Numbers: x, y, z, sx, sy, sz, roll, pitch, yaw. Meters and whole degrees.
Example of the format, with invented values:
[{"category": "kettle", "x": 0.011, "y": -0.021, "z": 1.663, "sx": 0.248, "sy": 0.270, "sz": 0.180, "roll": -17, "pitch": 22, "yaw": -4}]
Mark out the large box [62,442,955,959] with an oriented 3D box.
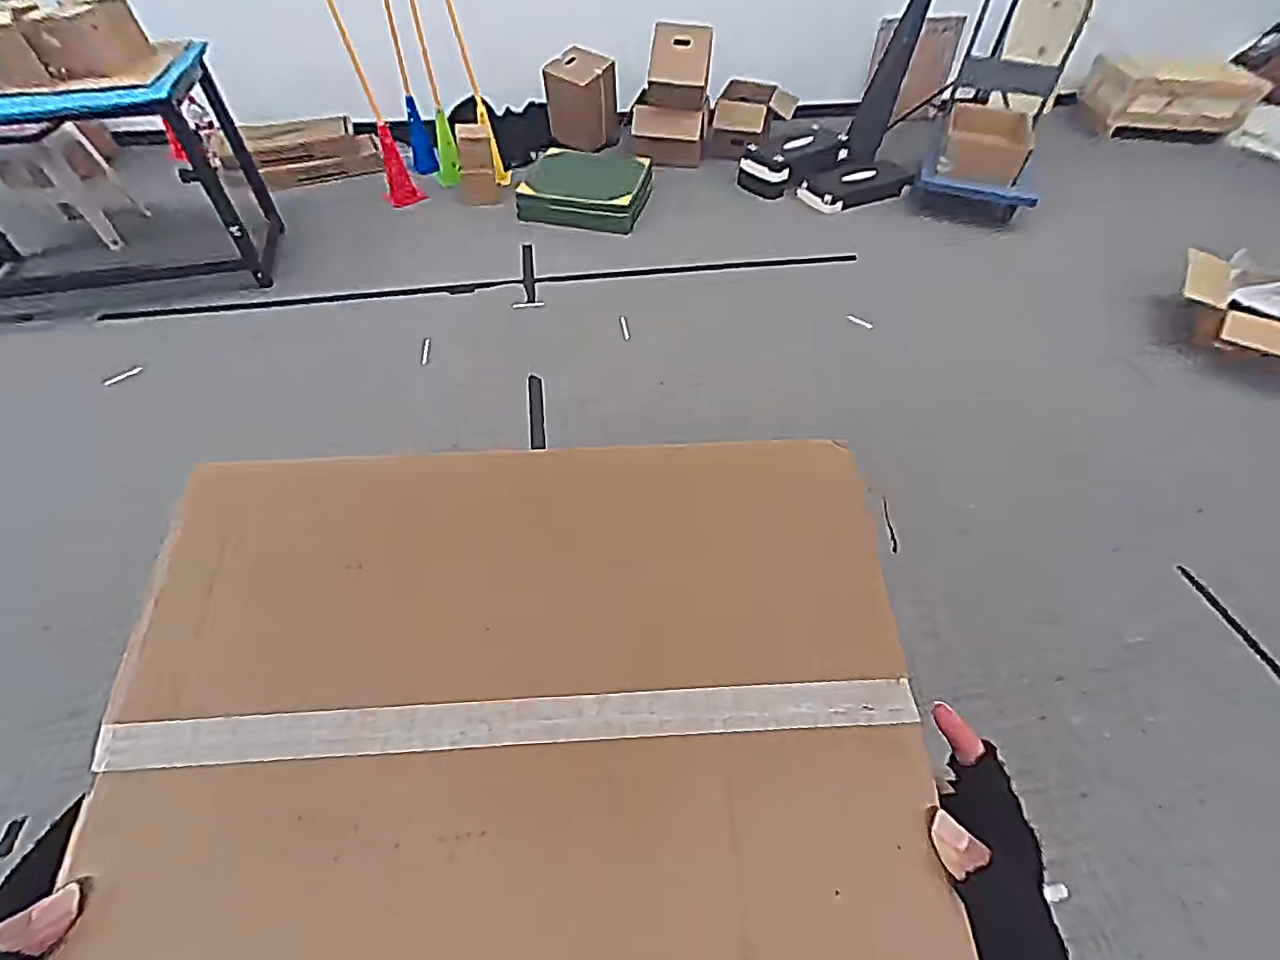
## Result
[{"category": "large box", "x": -0.066, "y": 0.186, "z": 0.421, "sx": 0.408, "sy": 0.320, "sz": 0.320, "roll": -2, "pitch": 65, "yaw": -2}]
